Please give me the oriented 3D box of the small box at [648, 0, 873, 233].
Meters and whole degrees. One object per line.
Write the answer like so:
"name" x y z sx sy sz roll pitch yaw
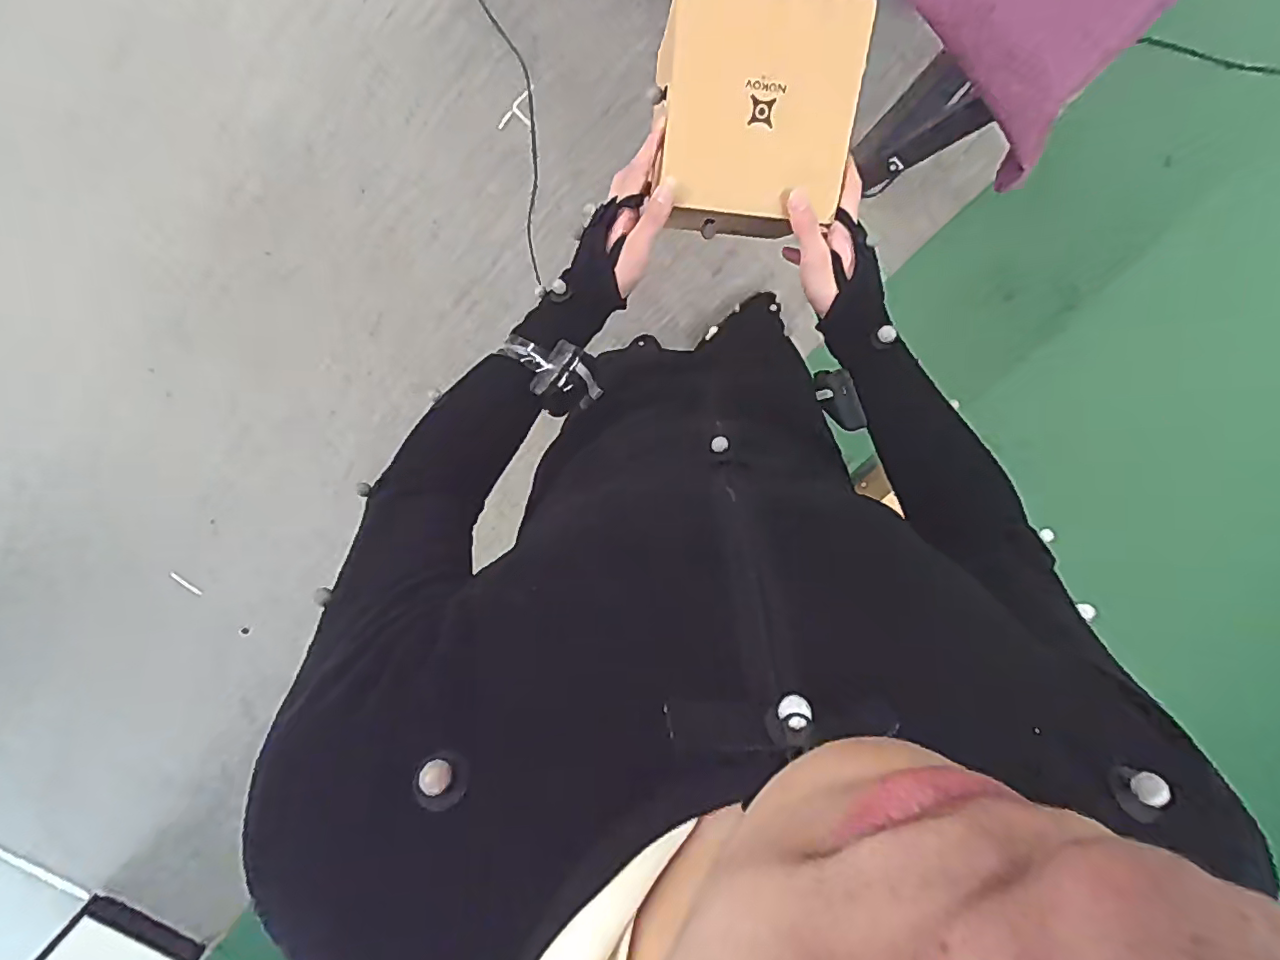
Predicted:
"small box" 0.099 -0.352 0.536 0.168 0.176 0.179 4 108 -4
